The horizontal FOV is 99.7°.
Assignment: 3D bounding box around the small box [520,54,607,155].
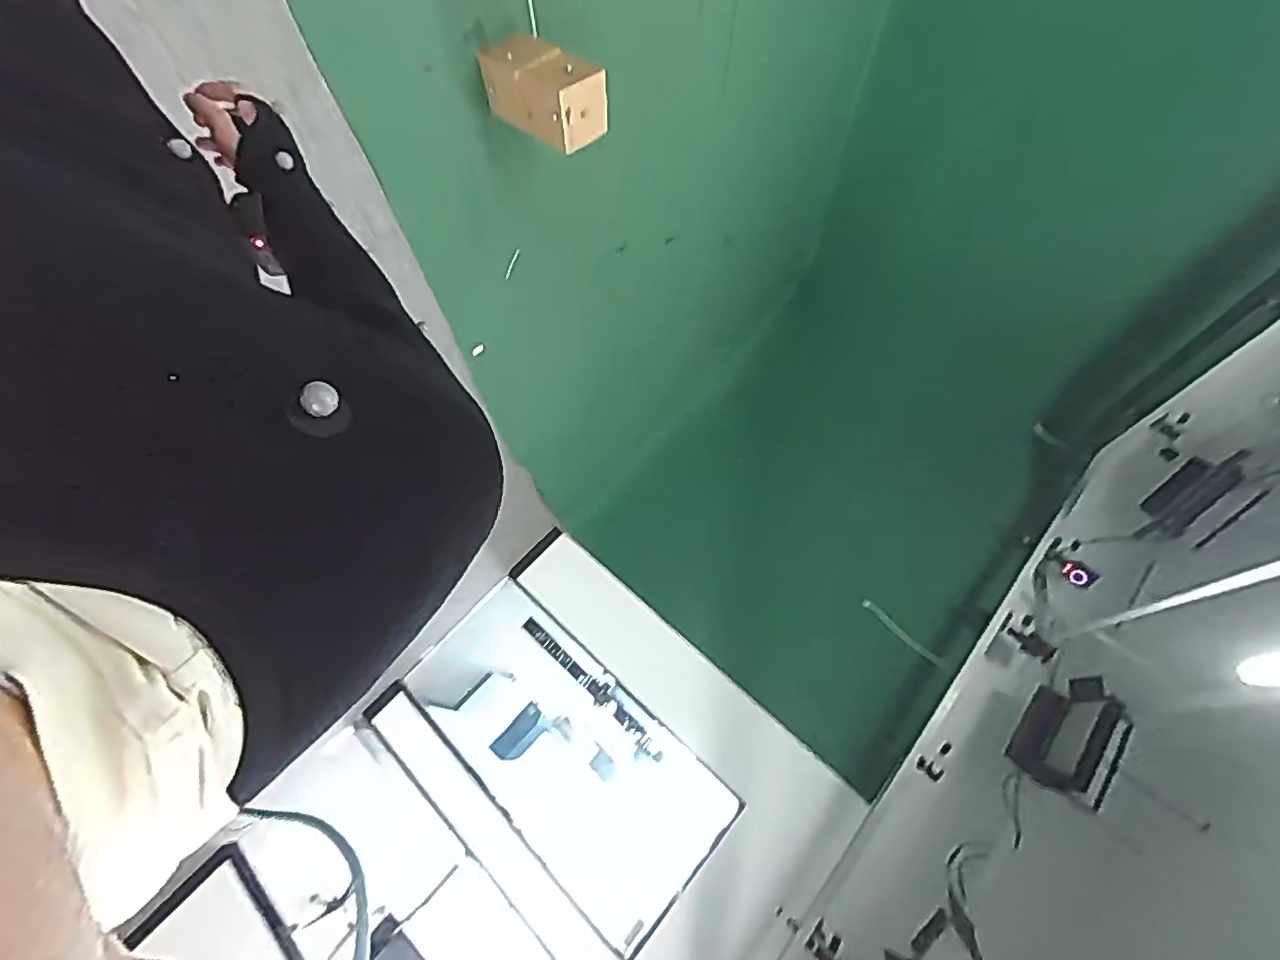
[{"bbox_3d":[-0.216,-1.085,1.556,0.179,0.176,0.168,-43,159,-22],"label":"small box"}]
